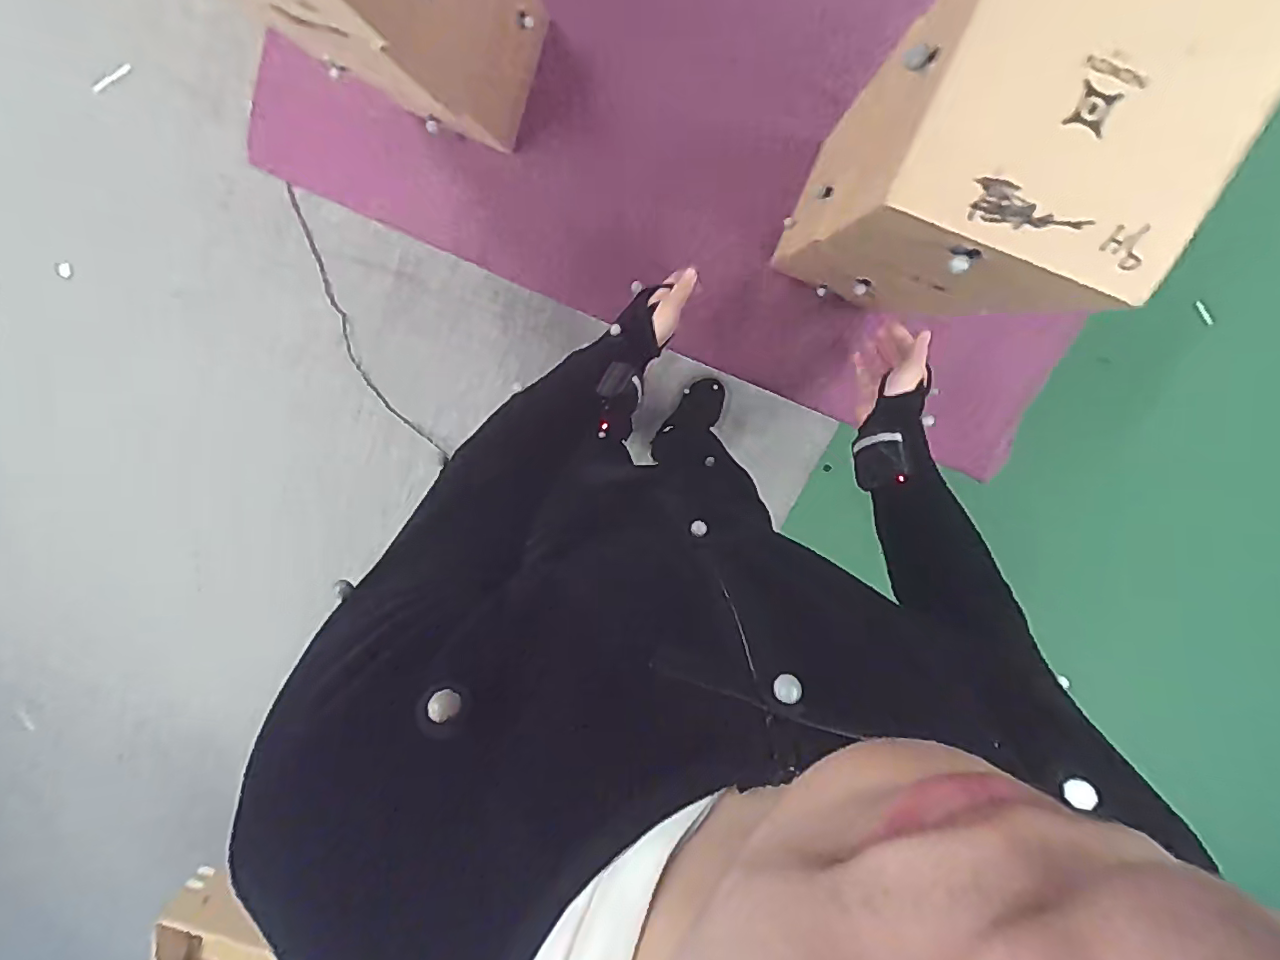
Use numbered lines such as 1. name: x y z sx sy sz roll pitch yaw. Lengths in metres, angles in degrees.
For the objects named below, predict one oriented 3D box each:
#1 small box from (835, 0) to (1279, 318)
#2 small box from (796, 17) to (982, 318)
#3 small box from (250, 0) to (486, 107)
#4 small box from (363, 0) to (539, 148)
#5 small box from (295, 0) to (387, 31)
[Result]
1. small box: 0.254 -0.222 0.359 0.168 0.176 0.179 22 106 -1
2. small box: 0.265 -0.269 0.515 0.168 0.176 0.179 24 107 -2
3. small box: -0.253 -0.489 0.495 0.168 0.176 0.179 23 106 -2
4. small box: -0.235 -0.542 0.649 0.168 0.176 0.179 23 107 -2
5. small box: -0.261 -0.442 0.341 0.168 0.176 0.179 21 106 -1
